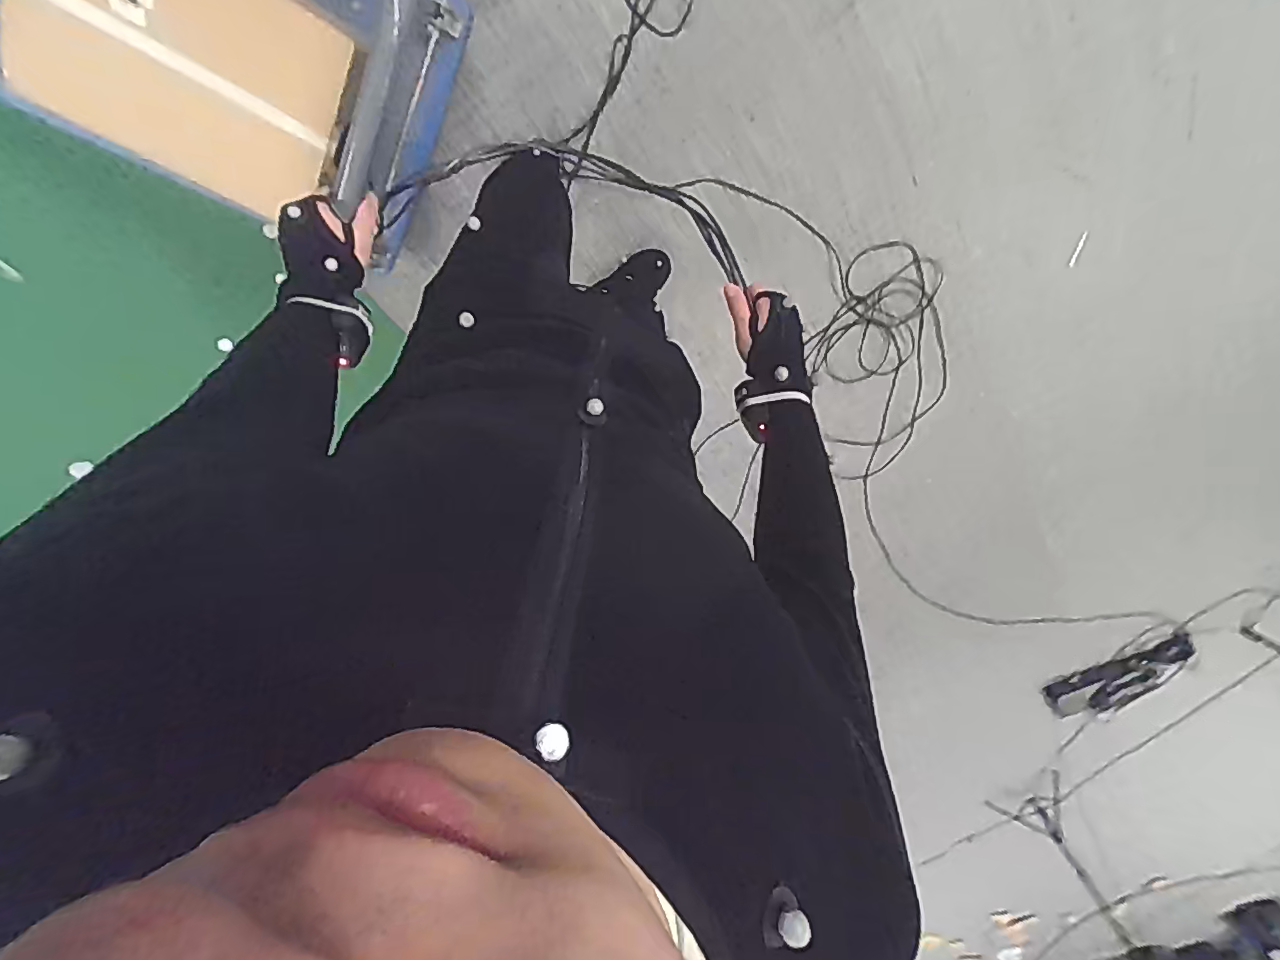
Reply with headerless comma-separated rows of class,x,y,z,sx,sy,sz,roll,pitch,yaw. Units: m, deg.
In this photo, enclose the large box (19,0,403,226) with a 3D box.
large box,-0.682,-0.708,0.926,0.408,0.320,0.320,24,116,-23
